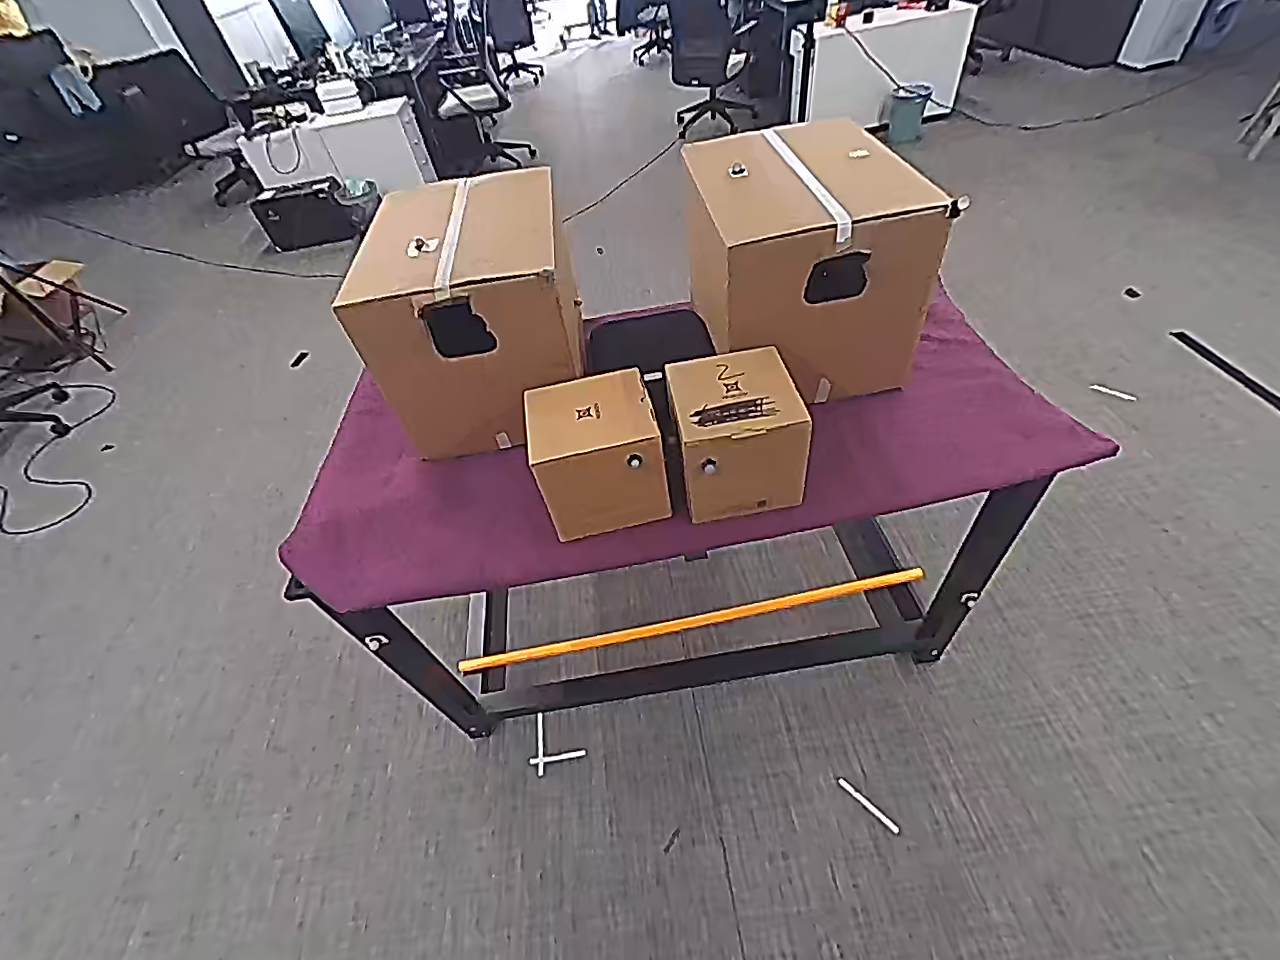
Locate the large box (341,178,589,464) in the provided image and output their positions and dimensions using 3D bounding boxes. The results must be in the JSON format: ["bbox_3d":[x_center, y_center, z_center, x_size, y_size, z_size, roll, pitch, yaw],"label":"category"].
[{"bbox_3d":[-0.280,-0.293,0.990,0.320,0.320,0.408,-10,50,0],"label":"large box"}]
